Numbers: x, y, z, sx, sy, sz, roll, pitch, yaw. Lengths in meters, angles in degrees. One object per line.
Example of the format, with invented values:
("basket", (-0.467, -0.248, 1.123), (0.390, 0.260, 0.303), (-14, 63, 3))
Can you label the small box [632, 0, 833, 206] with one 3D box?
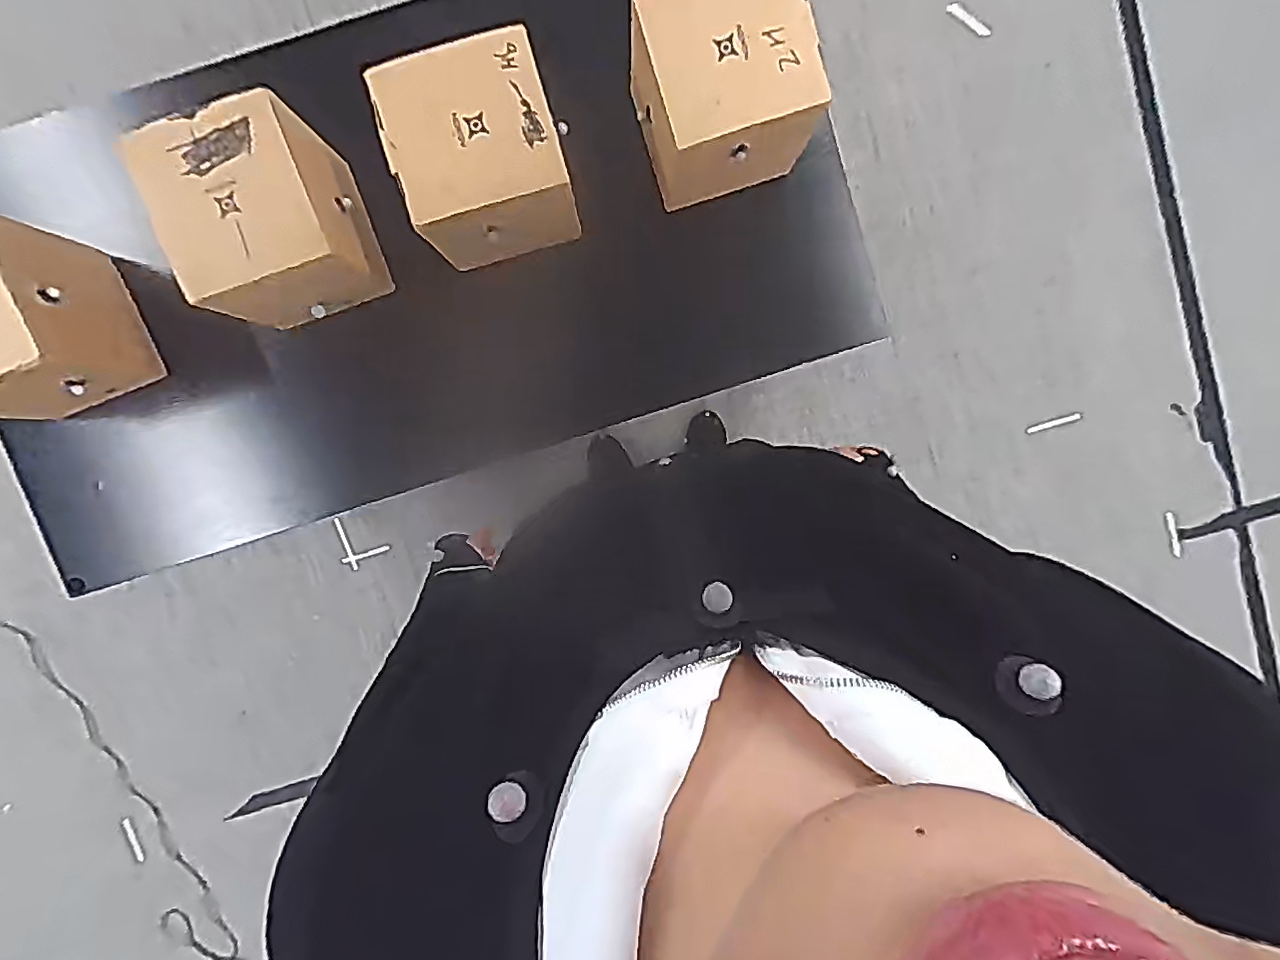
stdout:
("small box", (0.096, -0.454, 0.637), (0.179, 0.176, 0.168), (-17, 96, 1))

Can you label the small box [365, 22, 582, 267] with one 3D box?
("small box", (-0.179, -0.373, 0.638), (0.179, 0.176, 0.168), (-16, 96, 1))

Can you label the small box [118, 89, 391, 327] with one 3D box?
("small box", (-0.429, -0.300, 0.636), (0.168, 0.176, 0.179), (-19, 97, 0))

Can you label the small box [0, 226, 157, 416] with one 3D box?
("small box", (-0.740, -0.181, 0.637), (0.168, 0.176, 0.179), (-22, 95, -1))
